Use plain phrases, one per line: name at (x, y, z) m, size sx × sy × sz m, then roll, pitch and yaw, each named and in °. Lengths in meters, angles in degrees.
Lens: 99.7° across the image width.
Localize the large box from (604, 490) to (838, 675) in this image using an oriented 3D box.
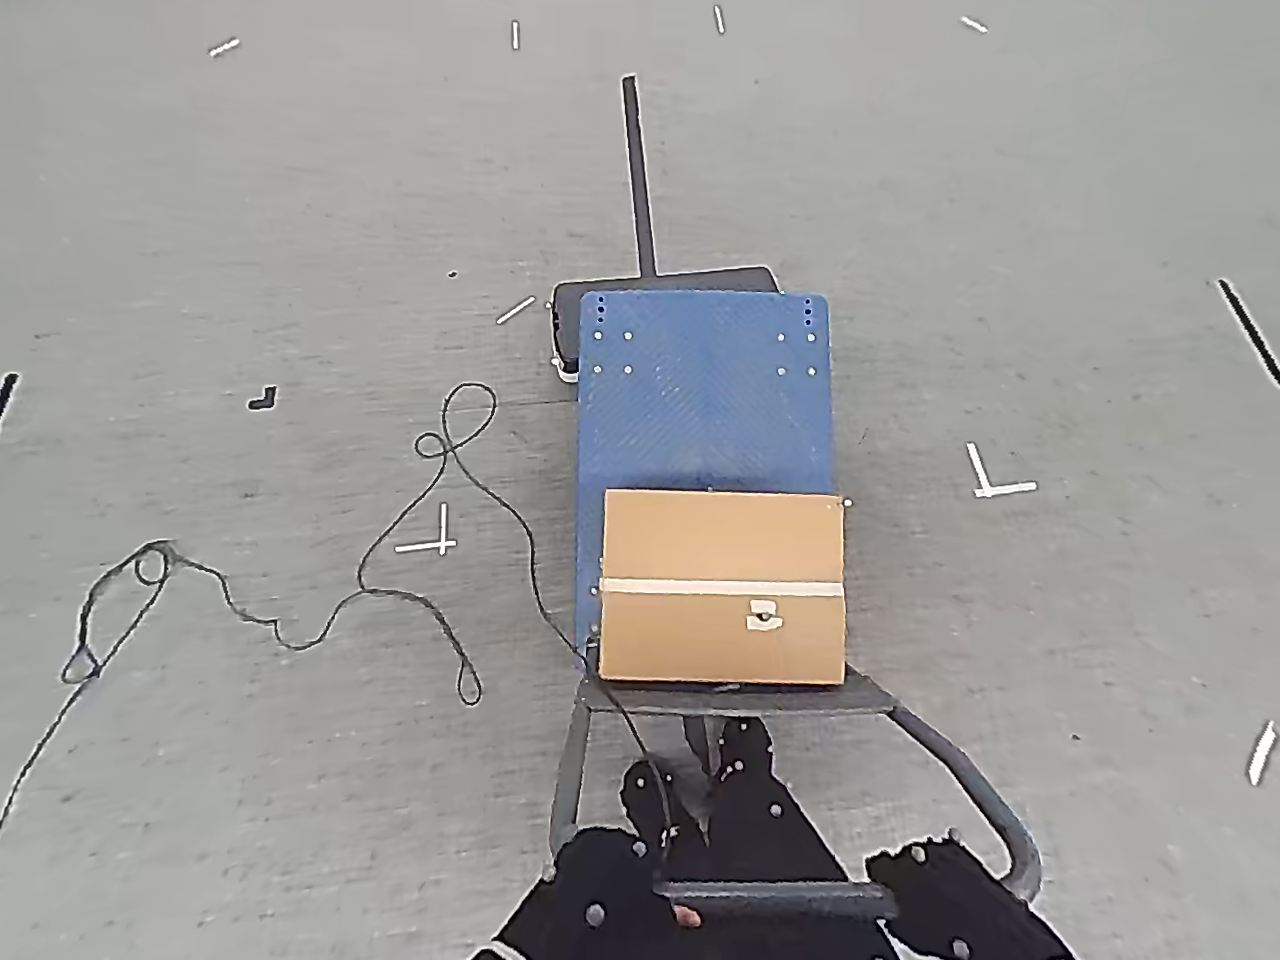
large box at (0.132, 0.186, 1.071) m, size 0.408 × 0.320 × 0.320 m, roll 1°, pitch 87°, yaw -2°
